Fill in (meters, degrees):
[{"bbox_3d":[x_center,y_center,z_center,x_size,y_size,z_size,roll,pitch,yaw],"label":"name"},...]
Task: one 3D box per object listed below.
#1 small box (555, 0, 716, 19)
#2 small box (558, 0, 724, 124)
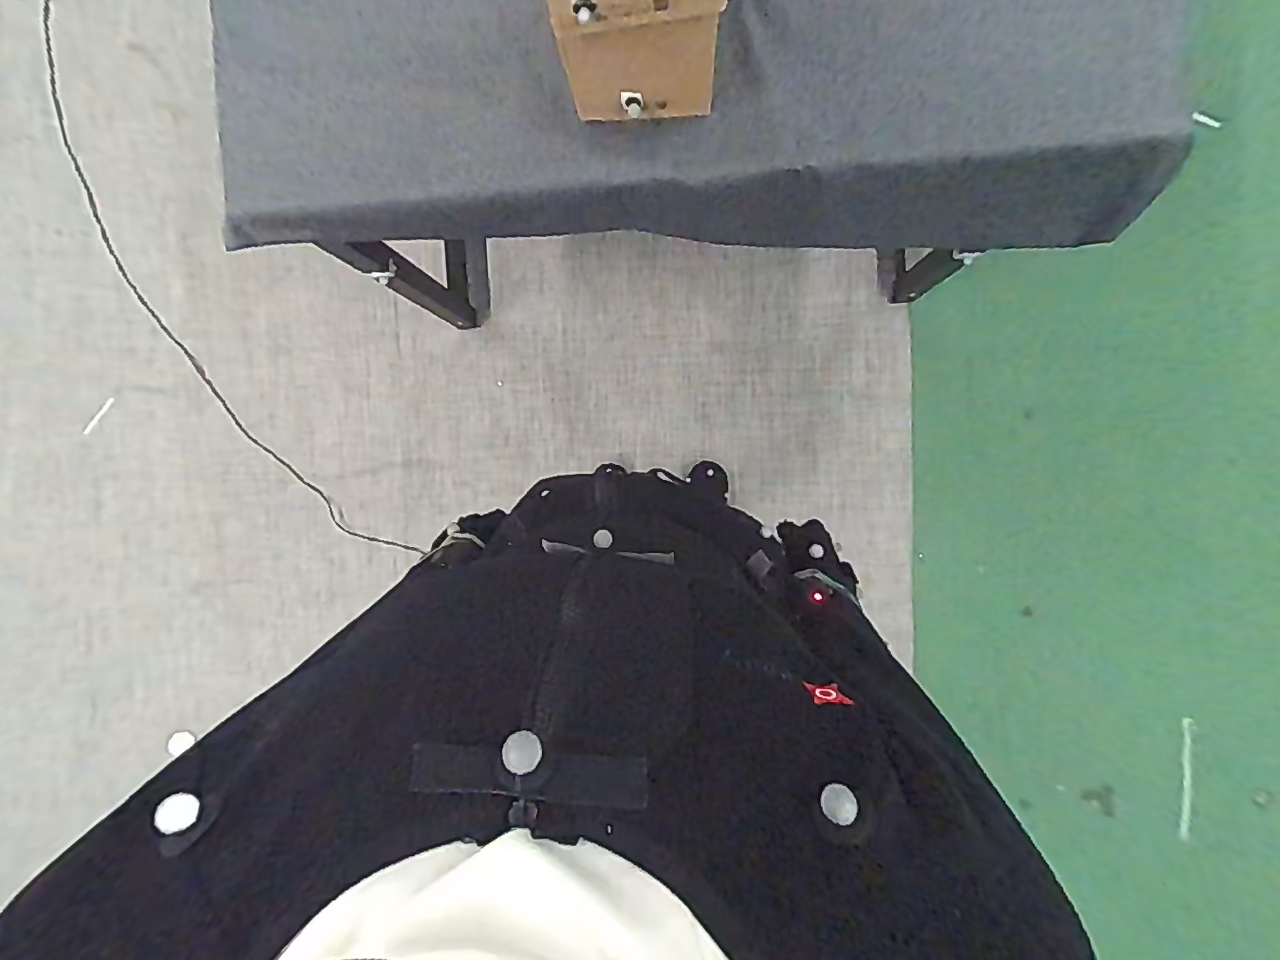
[{"bbox_3d":[-0.012,-0.526,0.441,0.168,0.176,0.179,-5,90,6],"label":"small box"},{"bbox_3d":[0.006,-0.541,0.604,0.168,0.176,0.179,-1,93,6],"label":"small box"}]
